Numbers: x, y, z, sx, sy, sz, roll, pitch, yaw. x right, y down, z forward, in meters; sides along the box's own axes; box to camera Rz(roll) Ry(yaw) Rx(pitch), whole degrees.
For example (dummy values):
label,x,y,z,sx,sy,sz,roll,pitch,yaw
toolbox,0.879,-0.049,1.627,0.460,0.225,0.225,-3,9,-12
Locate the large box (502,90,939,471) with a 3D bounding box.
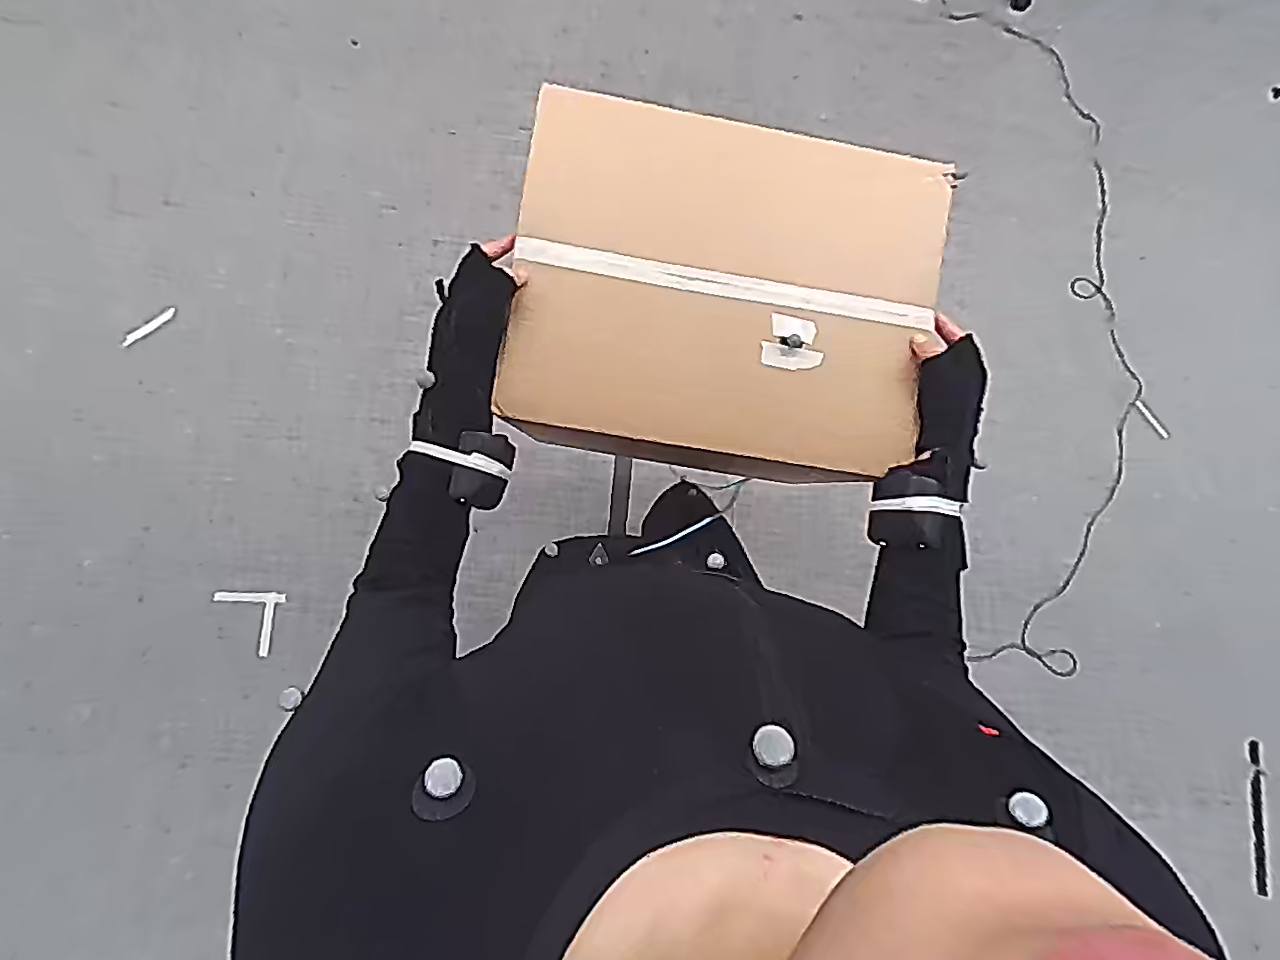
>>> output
label,x,y,z,sx,sy,sz,roll,pitch,yaw
large box,0.071,-0.193,0.673,0.408,0.320,0.320,9,90,-5
